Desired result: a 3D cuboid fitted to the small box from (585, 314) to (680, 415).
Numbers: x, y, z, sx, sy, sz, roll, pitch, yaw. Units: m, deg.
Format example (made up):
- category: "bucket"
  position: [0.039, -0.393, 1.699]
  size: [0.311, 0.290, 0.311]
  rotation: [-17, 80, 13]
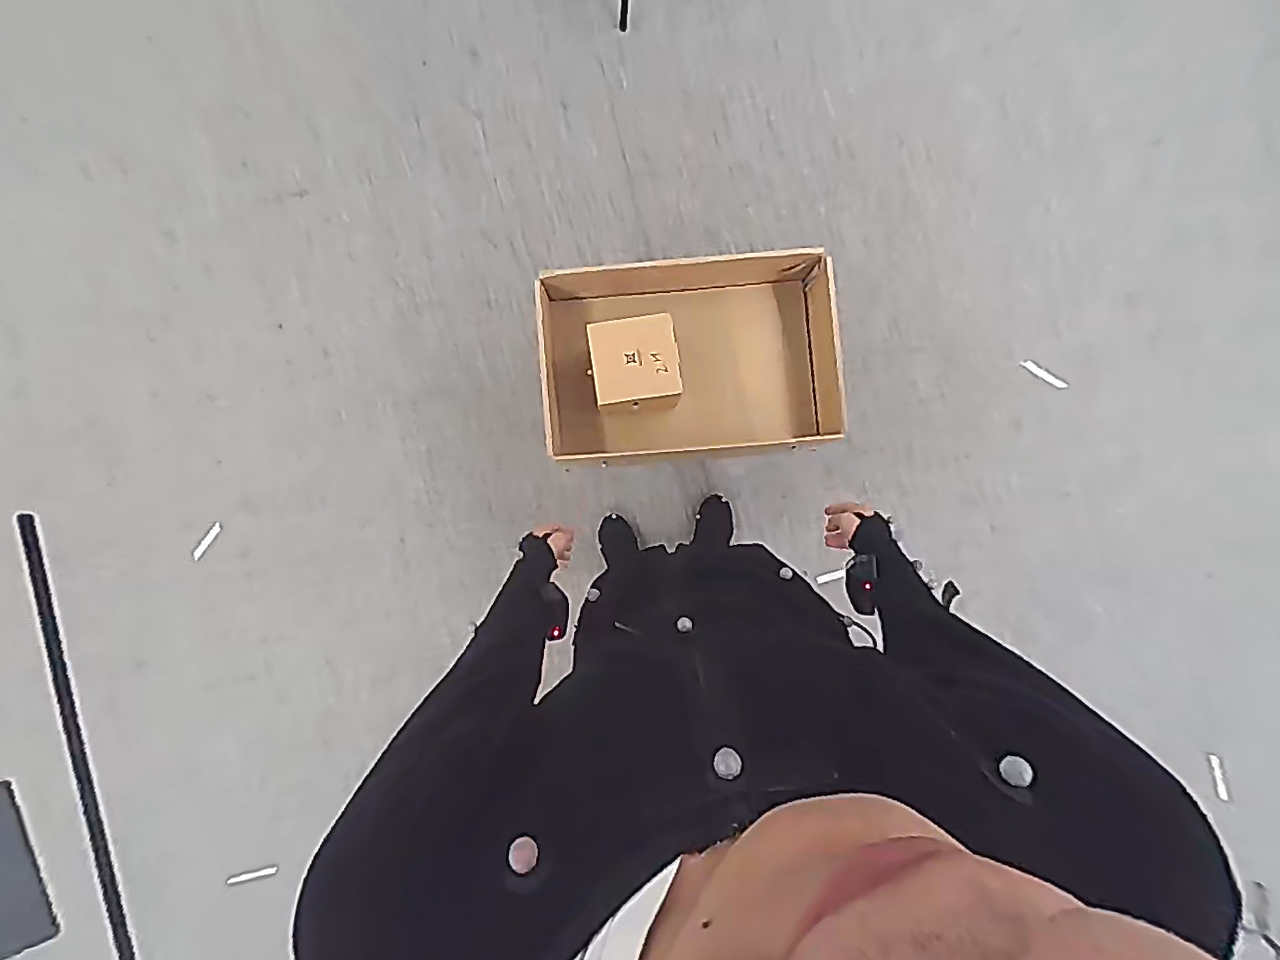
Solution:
- category: "small box"
  position: [-0.016, -0.240, 1.157]
  size: [0.179, 0.176, 0.168]
  rotation: [-8, 89, -1]
